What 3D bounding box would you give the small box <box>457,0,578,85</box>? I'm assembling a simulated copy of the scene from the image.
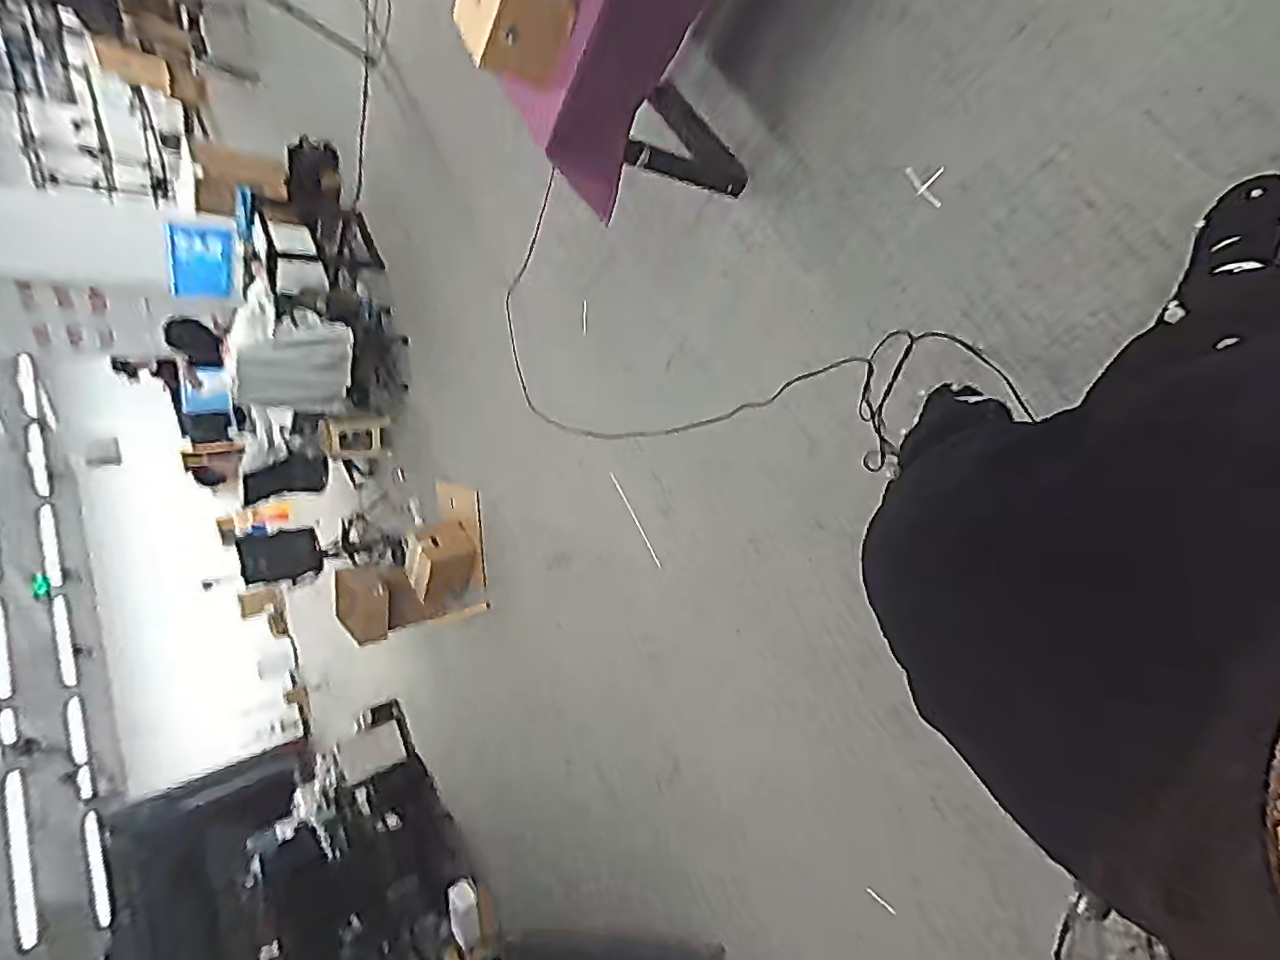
[{"bbox_3d":[-0.258,-0.987,1.139,0.179,0.176,0.168,-38,71,44],"label":"small box"}]
